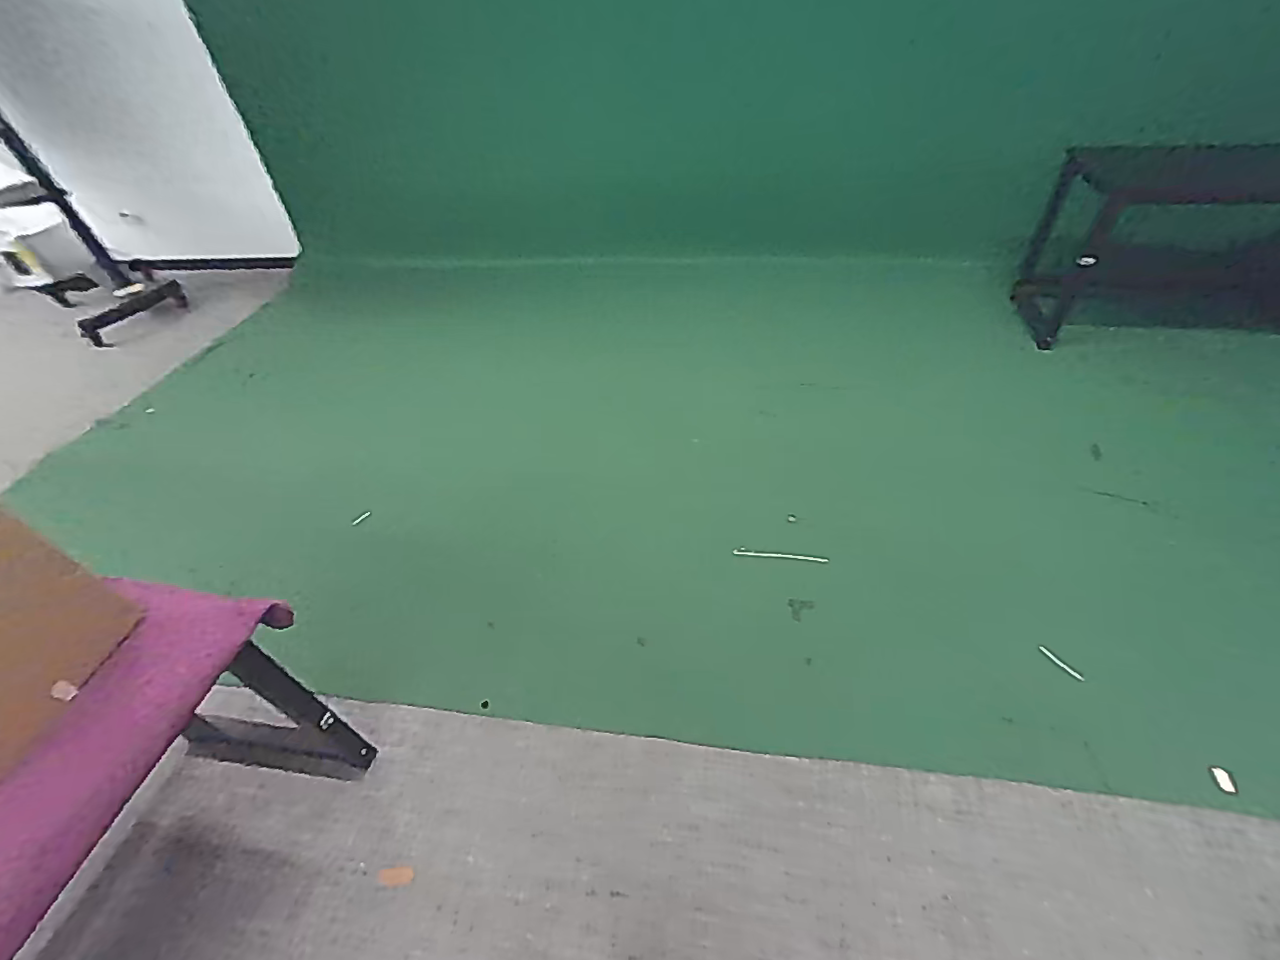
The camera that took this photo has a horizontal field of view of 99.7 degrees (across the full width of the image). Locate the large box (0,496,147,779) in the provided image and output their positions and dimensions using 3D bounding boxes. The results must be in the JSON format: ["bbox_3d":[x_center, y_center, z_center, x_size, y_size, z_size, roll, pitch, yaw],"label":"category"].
[{"bbox_3d":[-1.110,0.223,0.797,0.408,0.320,0.320,4,47,8],"label":"large box"}]
